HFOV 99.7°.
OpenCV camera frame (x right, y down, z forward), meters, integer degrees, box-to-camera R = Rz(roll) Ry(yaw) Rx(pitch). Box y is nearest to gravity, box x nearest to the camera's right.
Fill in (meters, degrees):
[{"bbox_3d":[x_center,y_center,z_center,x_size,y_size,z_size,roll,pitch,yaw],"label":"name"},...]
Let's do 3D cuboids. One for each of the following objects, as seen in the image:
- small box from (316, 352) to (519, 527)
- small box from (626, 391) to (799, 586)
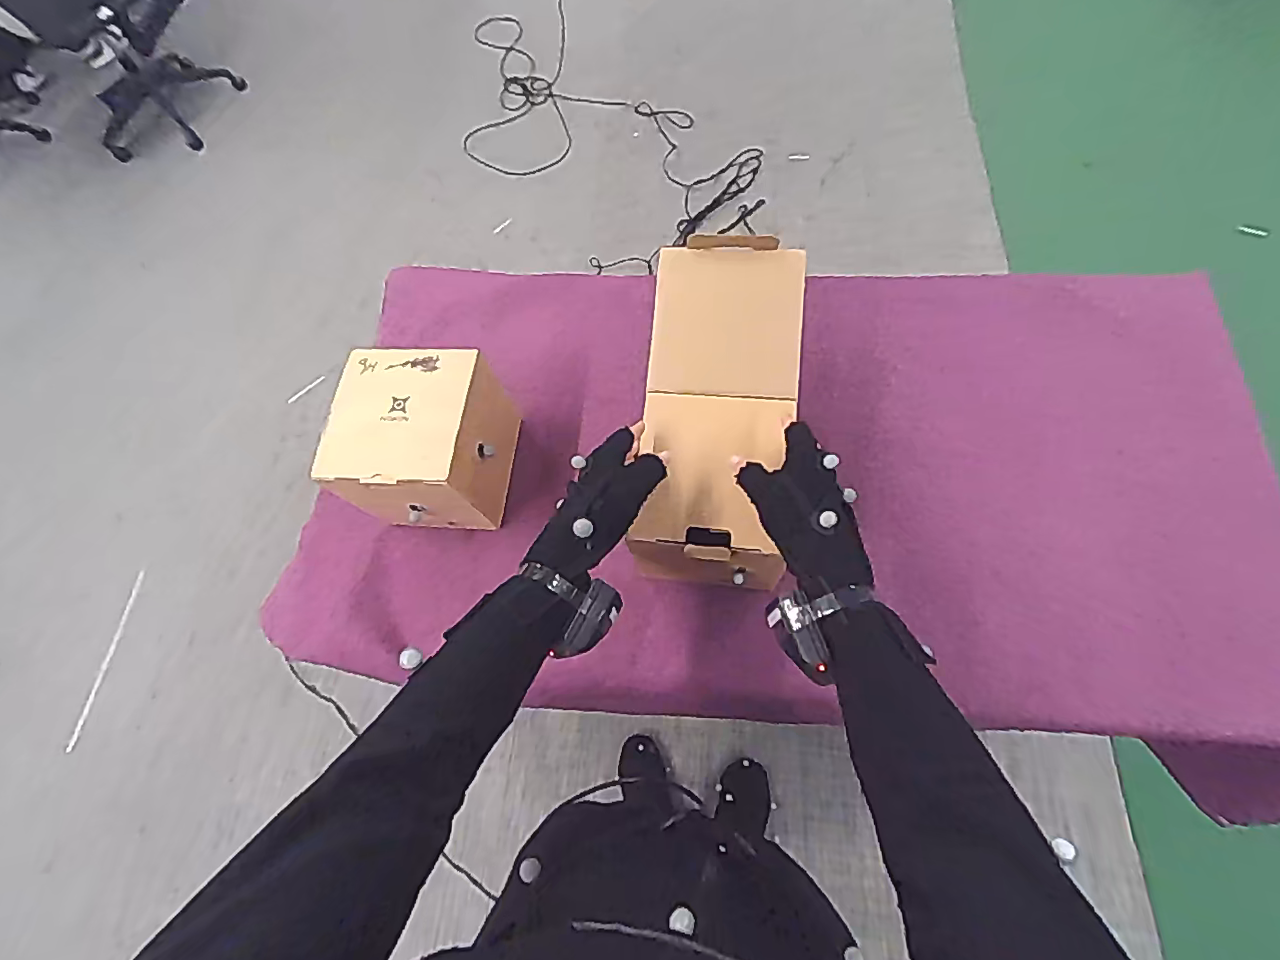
[{"bbox_3d":[-0.267,-0.045,0.696,0.168,0.176,0.179,2,68,7],"label":"small box"},{"bbox_3d":[0.086,0.018,0.629,0.168,0.176,0.179,5,67,8],"label":"small box"}]
